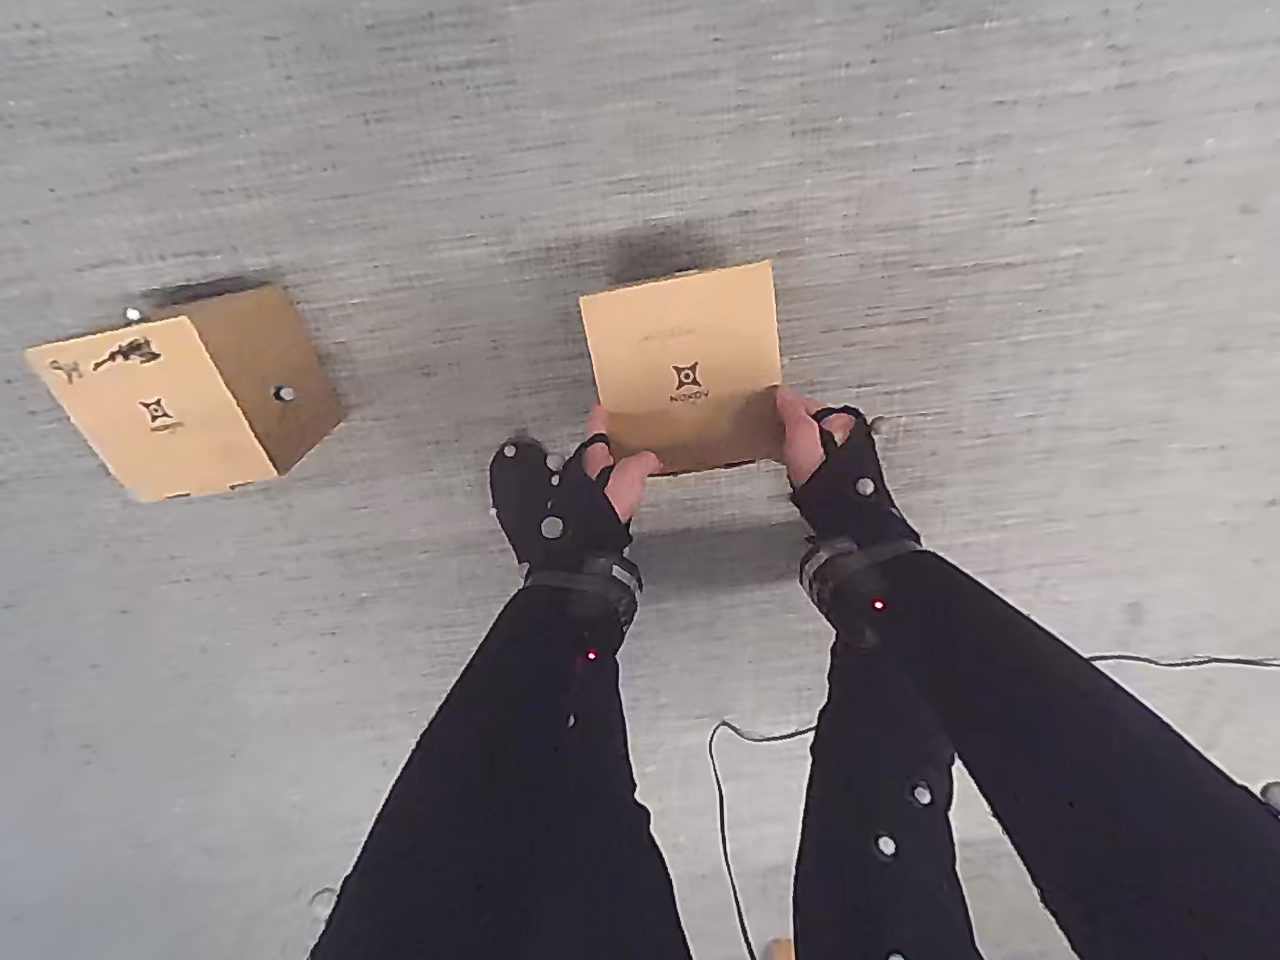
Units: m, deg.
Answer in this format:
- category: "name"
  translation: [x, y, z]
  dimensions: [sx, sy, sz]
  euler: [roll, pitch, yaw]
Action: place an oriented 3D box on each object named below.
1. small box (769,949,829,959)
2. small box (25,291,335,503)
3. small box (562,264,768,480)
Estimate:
- category: "small box"
  translation: [0.444, 1.411, 1.464]
  dimensions: [0.168, 0.176, 0.179]
  euler: [-2, 118, -1]
- category: "small box"
  translation: [-0.489, -0.100, 0.616]
  dimensions: [0.168, 0.176, 0.179]
  euler: [-10, 119, 3]
- category: "small box"
  translation: [0.033, -0.118, 0.559]
  dimensions: [0.168, 0.176, 0.179]
  euler: [-9, 110, 8]
